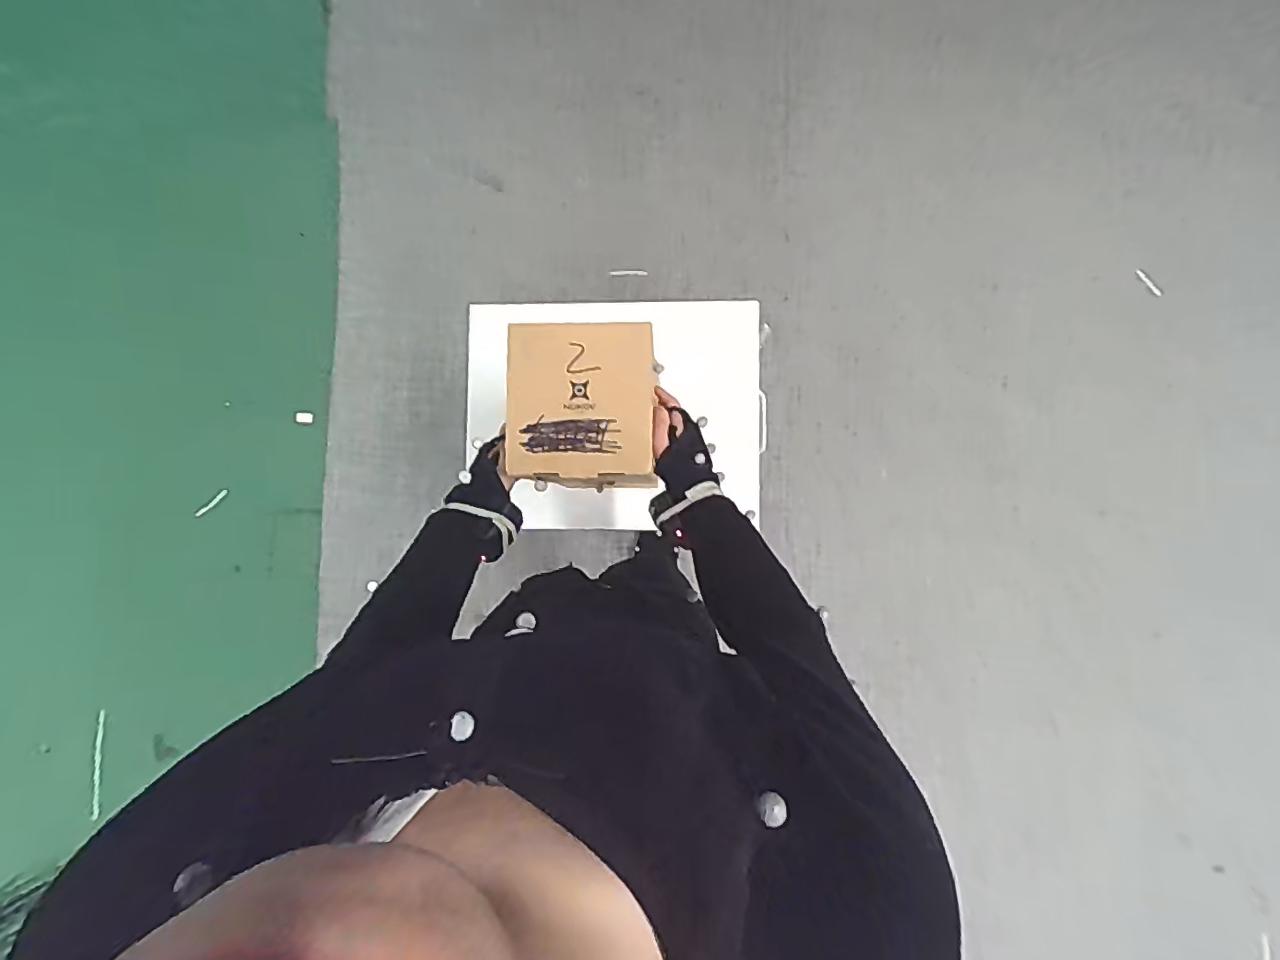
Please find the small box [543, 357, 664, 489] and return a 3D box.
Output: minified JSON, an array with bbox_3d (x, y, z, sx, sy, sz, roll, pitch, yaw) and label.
[{"bbox_3d":[-0.048,-0.080,0.831,0.168,0.176,0.179,0,86,3],"label":"small box"}]
